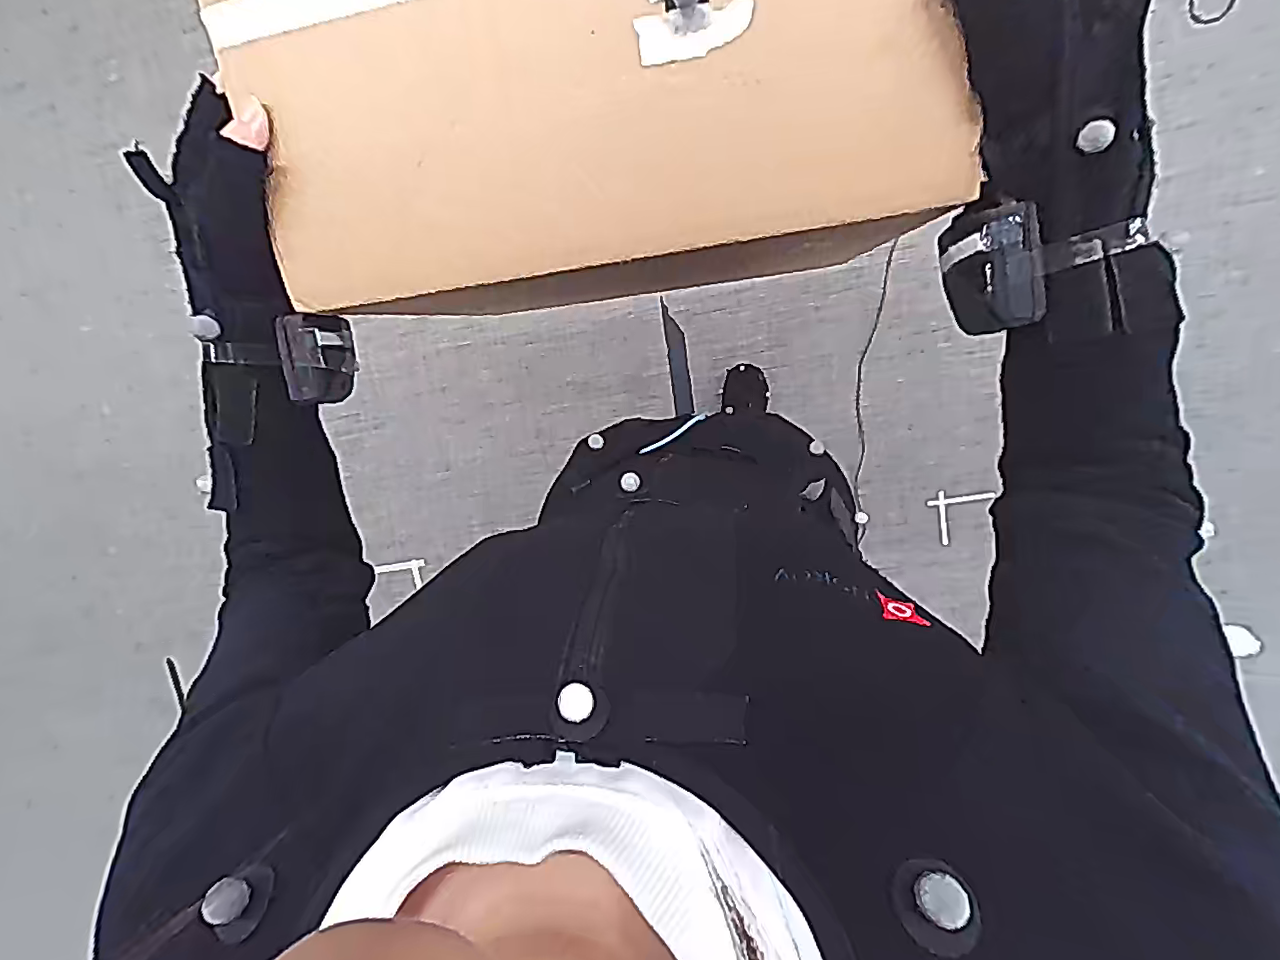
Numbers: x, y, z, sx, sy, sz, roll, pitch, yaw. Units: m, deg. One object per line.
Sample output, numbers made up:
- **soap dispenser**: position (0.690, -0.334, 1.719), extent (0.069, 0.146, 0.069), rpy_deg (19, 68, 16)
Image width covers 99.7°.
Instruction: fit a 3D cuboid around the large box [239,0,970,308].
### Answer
- **large box**: position (-0.021, -0.329, 0.427), extent (0.408, 0.320, 0.320), rpy_deg (-6, 106, 10)
